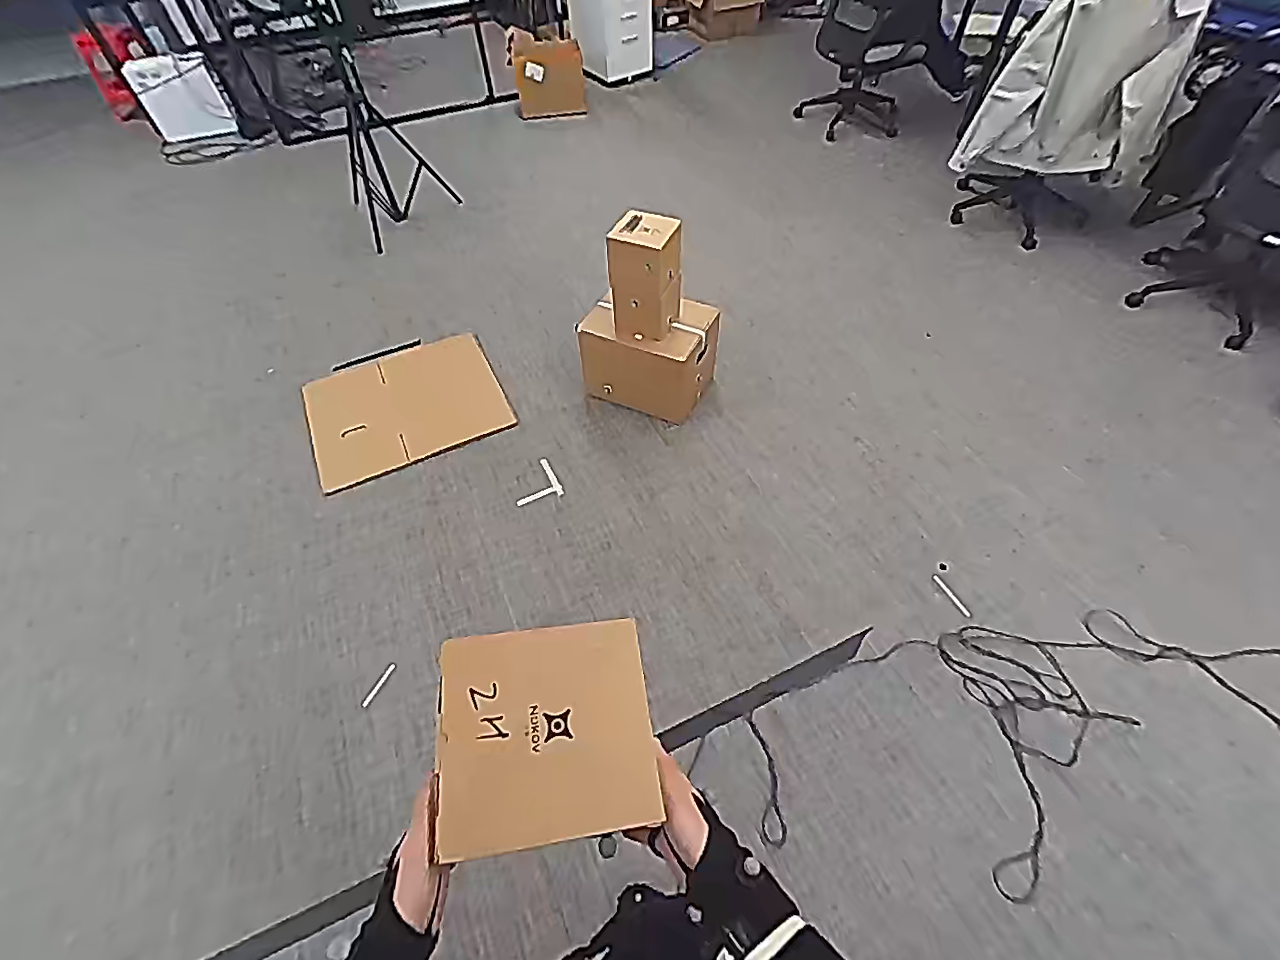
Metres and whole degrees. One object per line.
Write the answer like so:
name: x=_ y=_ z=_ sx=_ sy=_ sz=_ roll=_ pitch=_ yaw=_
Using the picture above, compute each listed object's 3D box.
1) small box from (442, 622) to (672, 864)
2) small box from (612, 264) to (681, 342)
small box: x=-0.081 y=0.246 z=0.514 sx=0.179 sy=0.176 sz=0.168 roll=-4 pitch=58 yaw=-11
small box: x=0.023 y=-0.581 z=1.789 sx=0.179 sy=0.176 sz=0.168 roll=19 pitch=57 yaw=15
